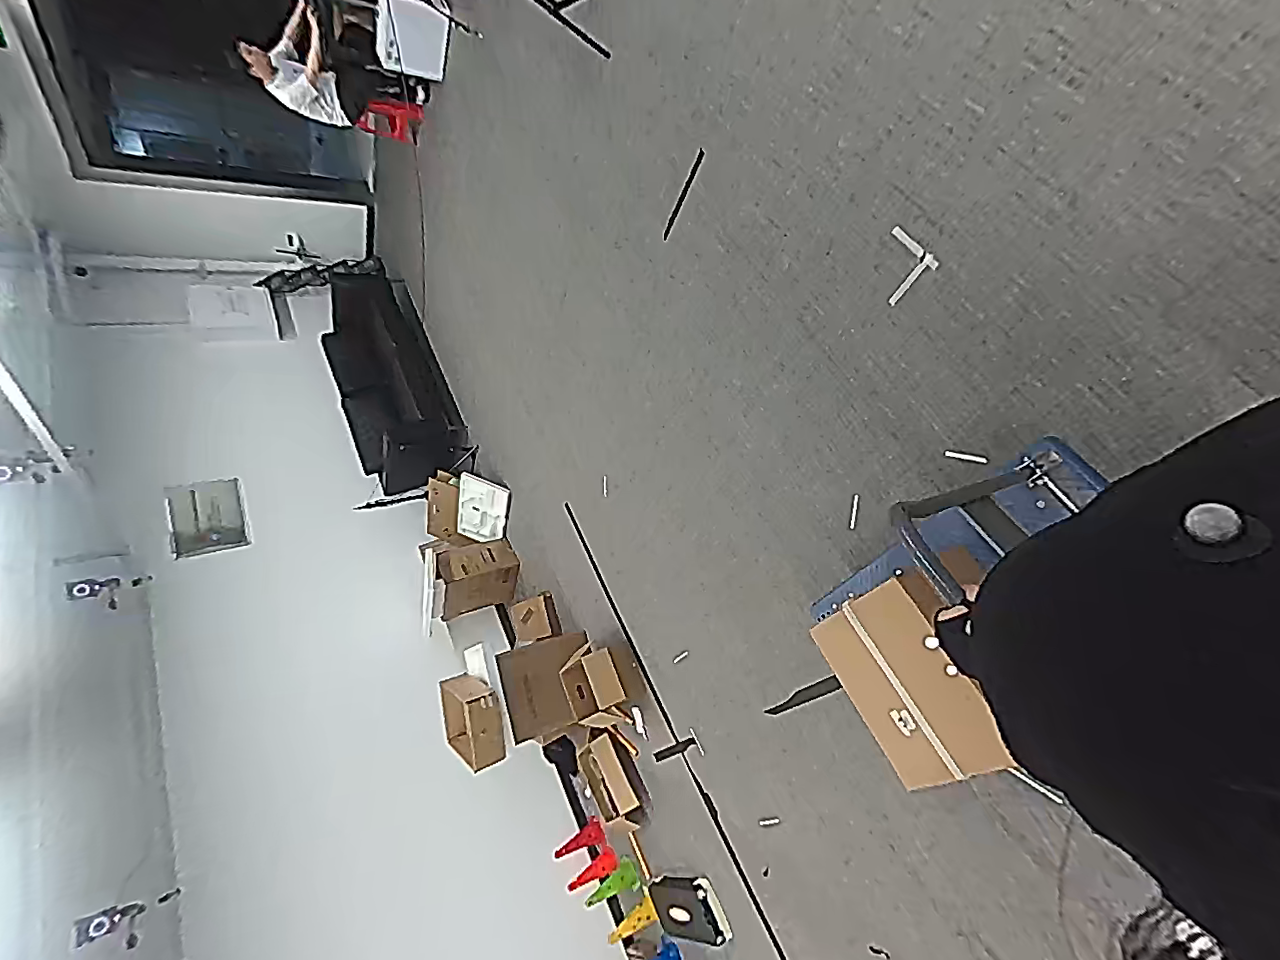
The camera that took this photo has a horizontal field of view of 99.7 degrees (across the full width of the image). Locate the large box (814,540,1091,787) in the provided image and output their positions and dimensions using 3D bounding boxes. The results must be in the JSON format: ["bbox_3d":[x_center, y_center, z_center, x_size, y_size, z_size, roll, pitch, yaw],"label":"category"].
[{"bbox_3d":[0.702,0.411,1.254,0.408,0.320,0.320,60,143,24],"label":"large box"}]
